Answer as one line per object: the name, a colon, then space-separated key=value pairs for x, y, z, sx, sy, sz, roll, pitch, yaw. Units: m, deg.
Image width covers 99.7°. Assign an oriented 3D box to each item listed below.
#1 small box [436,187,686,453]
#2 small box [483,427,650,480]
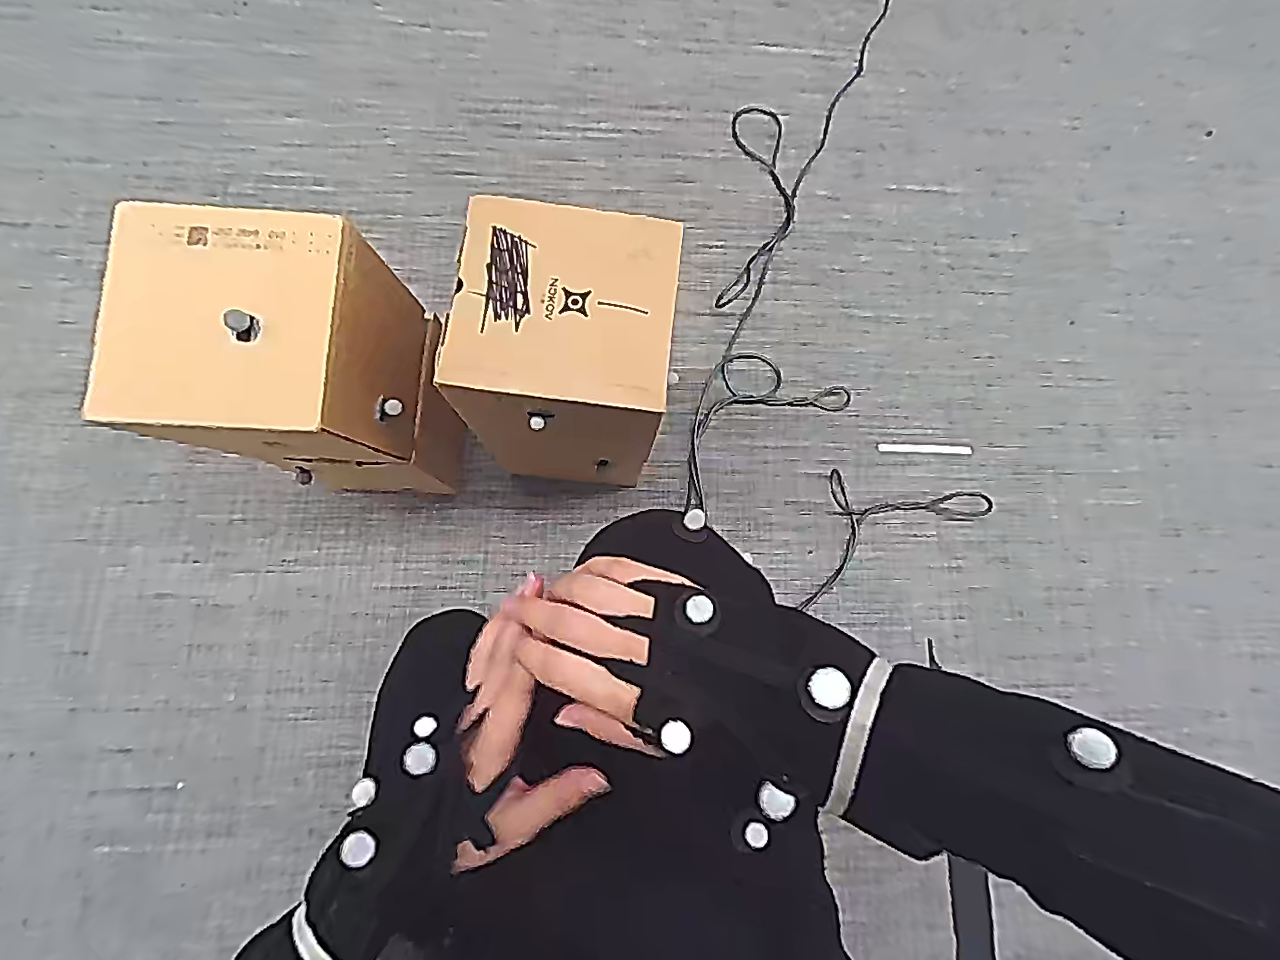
small box: x=-0.062 y=-0.129 z=0.497 sx=0.179 sy=0.176 sz=0.168 roll=7 pitch=78 yaw=-3
small box: x=-0.074 y=-0.100 z=0.658 sx=0.179 sy=0.176 sz=0.168 roll=6 pitch=77 yaw=-2
